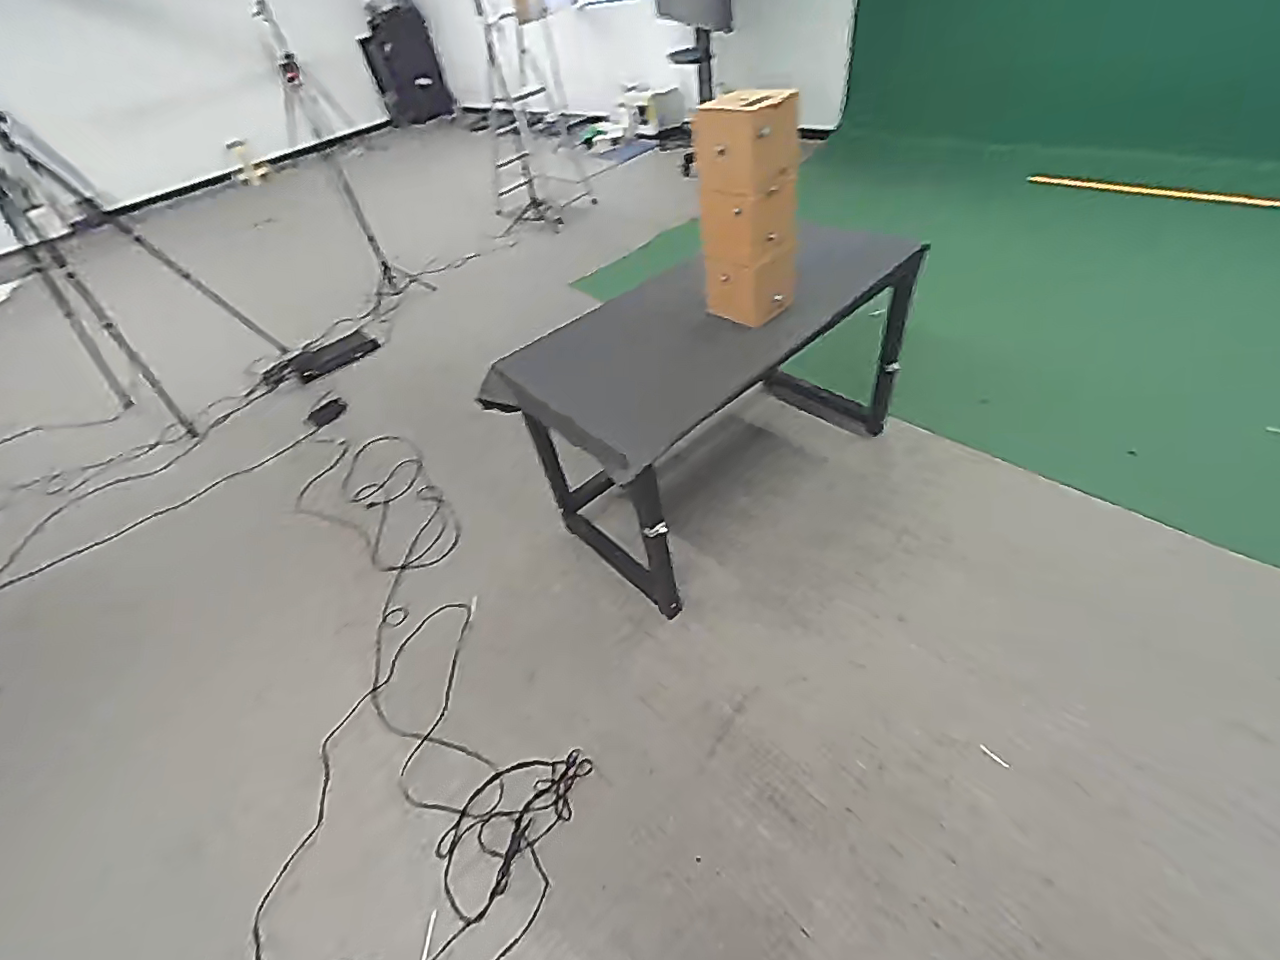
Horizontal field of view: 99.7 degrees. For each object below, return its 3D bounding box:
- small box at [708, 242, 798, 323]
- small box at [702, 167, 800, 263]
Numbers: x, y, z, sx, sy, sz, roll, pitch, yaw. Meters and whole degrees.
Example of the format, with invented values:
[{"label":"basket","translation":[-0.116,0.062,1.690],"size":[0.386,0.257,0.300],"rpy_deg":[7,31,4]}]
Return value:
[{"label":"small box","translation":[0.305,-0.548,1.466],"size":[0.168,0.176,0.179],"rpy_deg":[-37,49,-23]},{"label":"small box","translation":[0.277,-0.664,1.357],"size":[0.168,0.176,0.179],"rpy_deg":[-36,49,-23]}]
